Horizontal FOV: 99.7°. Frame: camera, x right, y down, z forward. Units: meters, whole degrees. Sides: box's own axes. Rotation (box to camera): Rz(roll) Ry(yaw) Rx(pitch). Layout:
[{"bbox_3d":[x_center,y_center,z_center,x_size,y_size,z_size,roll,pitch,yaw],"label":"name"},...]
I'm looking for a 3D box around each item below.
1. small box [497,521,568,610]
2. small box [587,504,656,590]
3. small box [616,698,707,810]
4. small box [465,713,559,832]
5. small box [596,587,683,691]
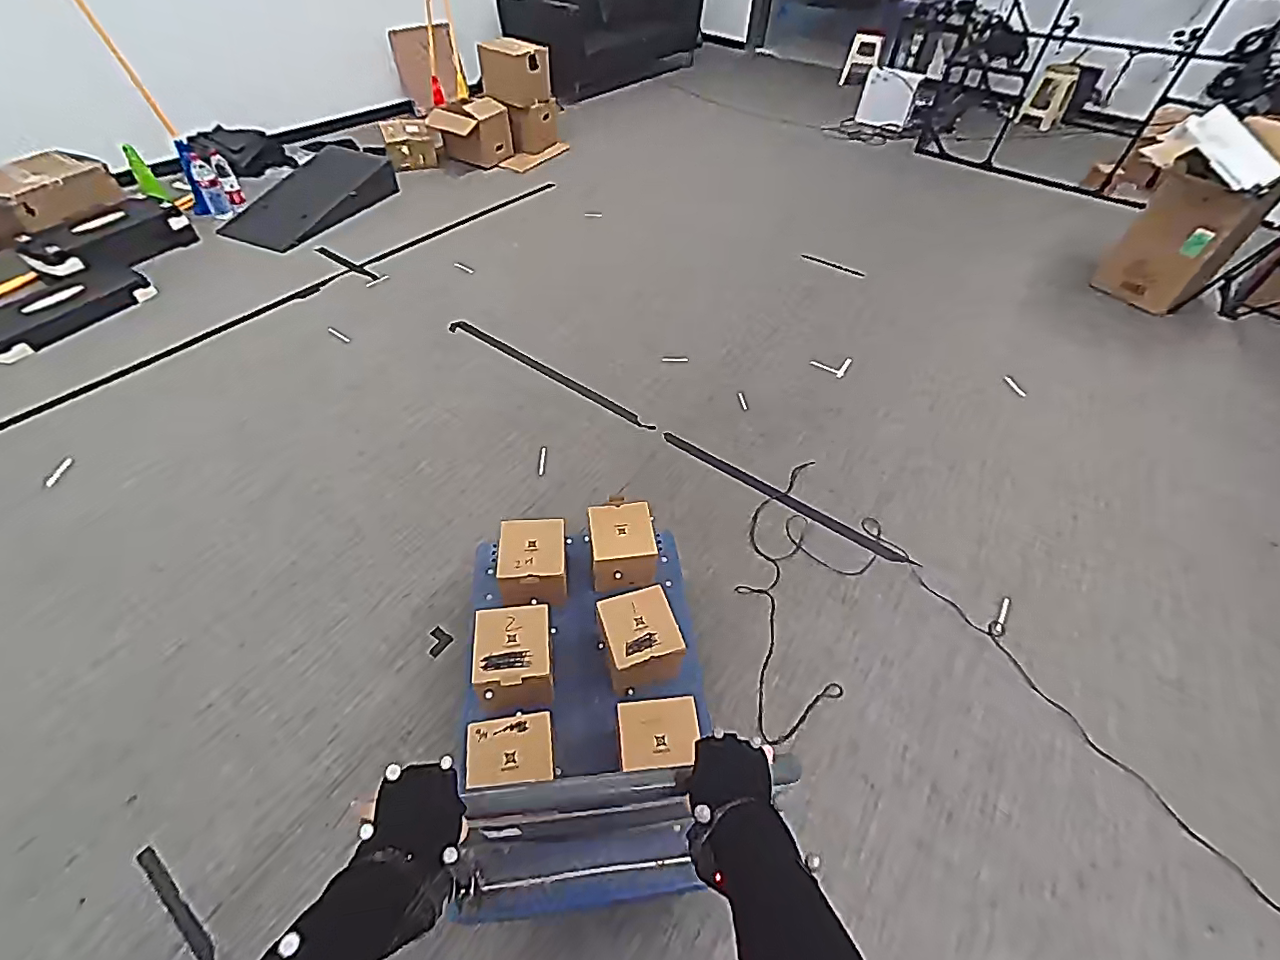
[{"bbox_3d":[-0.279,0.228,1.437,0.168,0.176,0.179,-2,50,-6],"label":"small box"},{"bbox_3d":[-0.054,0.190,1.491,0.168,0.176,0.179,-5,49,-9],"label":"small box"},{"bbox_3d":[0.038,0.586,1.150,0.168,0.176,0.179,-2,48,-7],"label":"small box"},{"bbox_3d":[-0.257,0.604,1.110,0.168,0.176,0.179,-5,50,-10],"label":"small box"},{"bbox_3d":[-0.005,0.393,1.316,0.168,0.176,0.179,-12,50,-15],"label":"small box"}]
